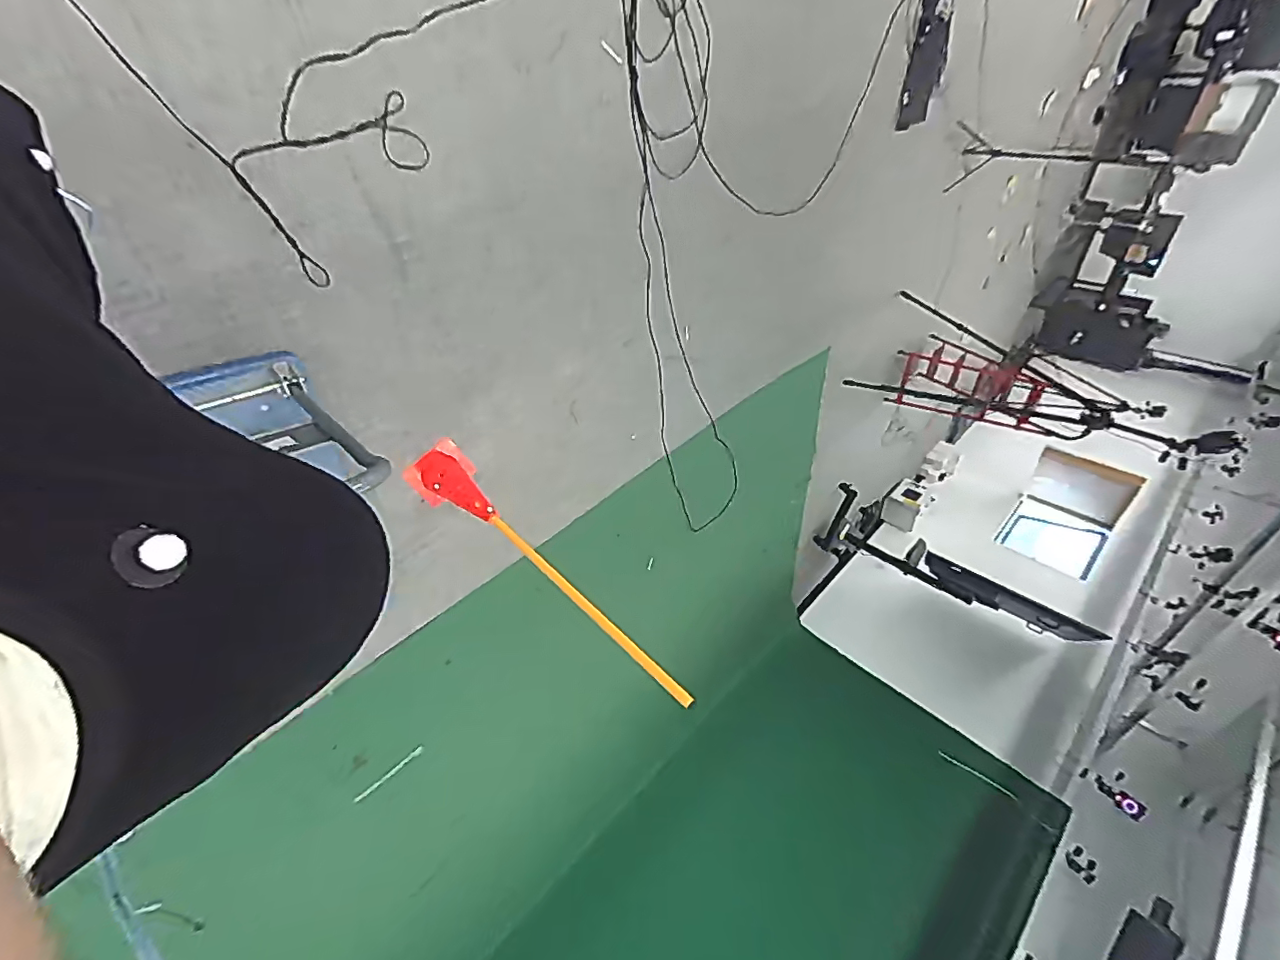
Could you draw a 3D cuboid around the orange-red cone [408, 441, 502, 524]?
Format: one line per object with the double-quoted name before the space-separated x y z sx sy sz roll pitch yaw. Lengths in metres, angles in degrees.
"orange-red cone" -0.569 0.047 1.789 0.199 0.360 0.198 -46 143 -18
